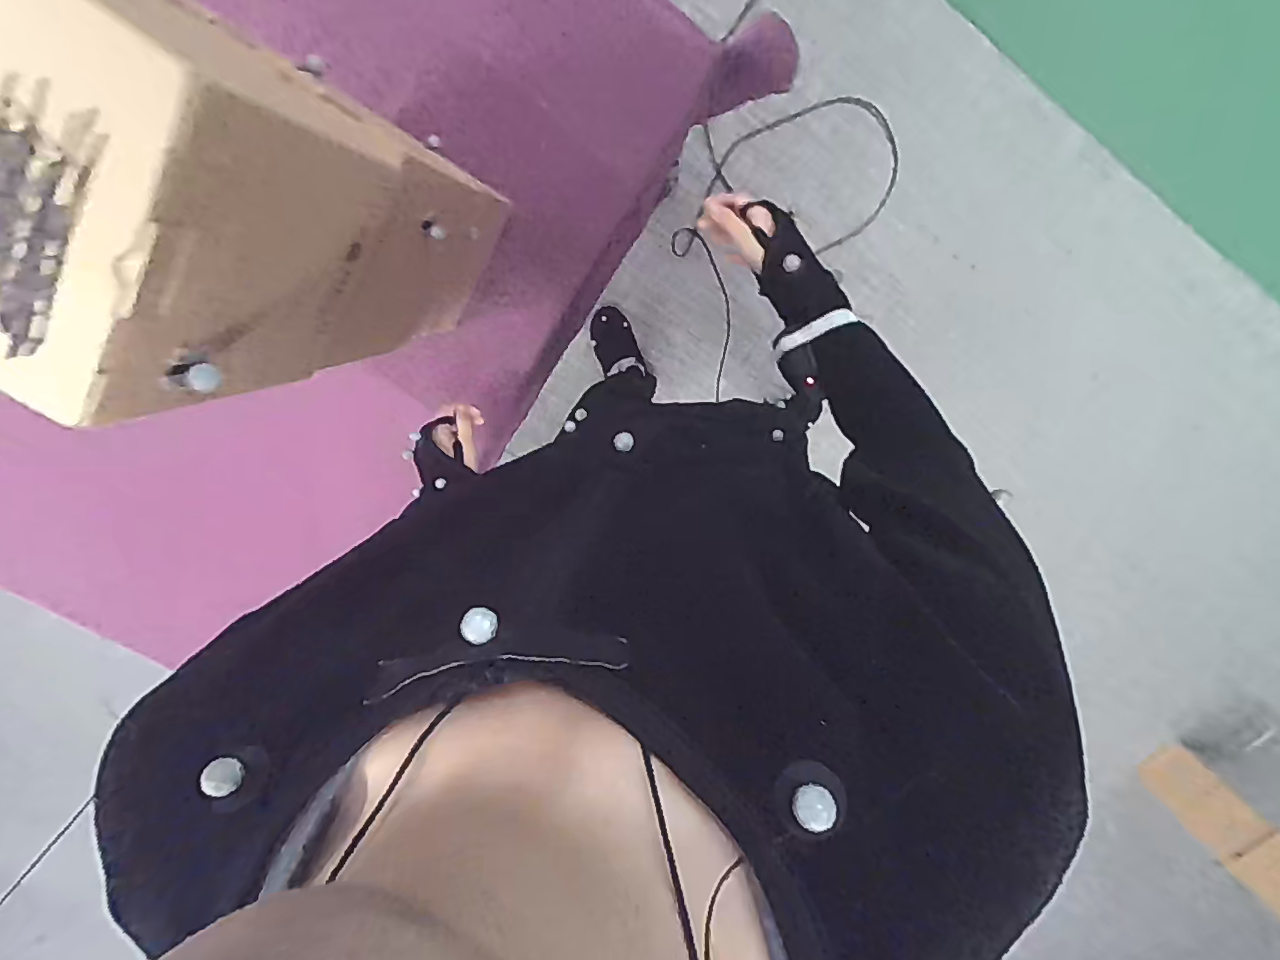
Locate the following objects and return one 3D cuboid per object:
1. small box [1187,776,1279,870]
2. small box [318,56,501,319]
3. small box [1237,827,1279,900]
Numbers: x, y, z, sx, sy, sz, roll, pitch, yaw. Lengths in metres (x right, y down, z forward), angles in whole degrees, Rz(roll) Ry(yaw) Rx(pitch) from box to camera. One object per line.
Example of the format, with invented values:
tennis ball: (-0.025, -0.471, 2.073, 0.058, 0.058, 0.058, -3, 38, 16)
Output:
small box: (1.797, 1.027, 1.600, 0.168, 0.176, 0.179, 30, 106, -9)
small box: (-0.271, -0.298, 0.593, 0.168, 0.176, 0.179, 31, 107, -8)
small box: (1.789, 1.064, 1.441, 0.168, 0.176, 0.179, 32, 108, -9)
